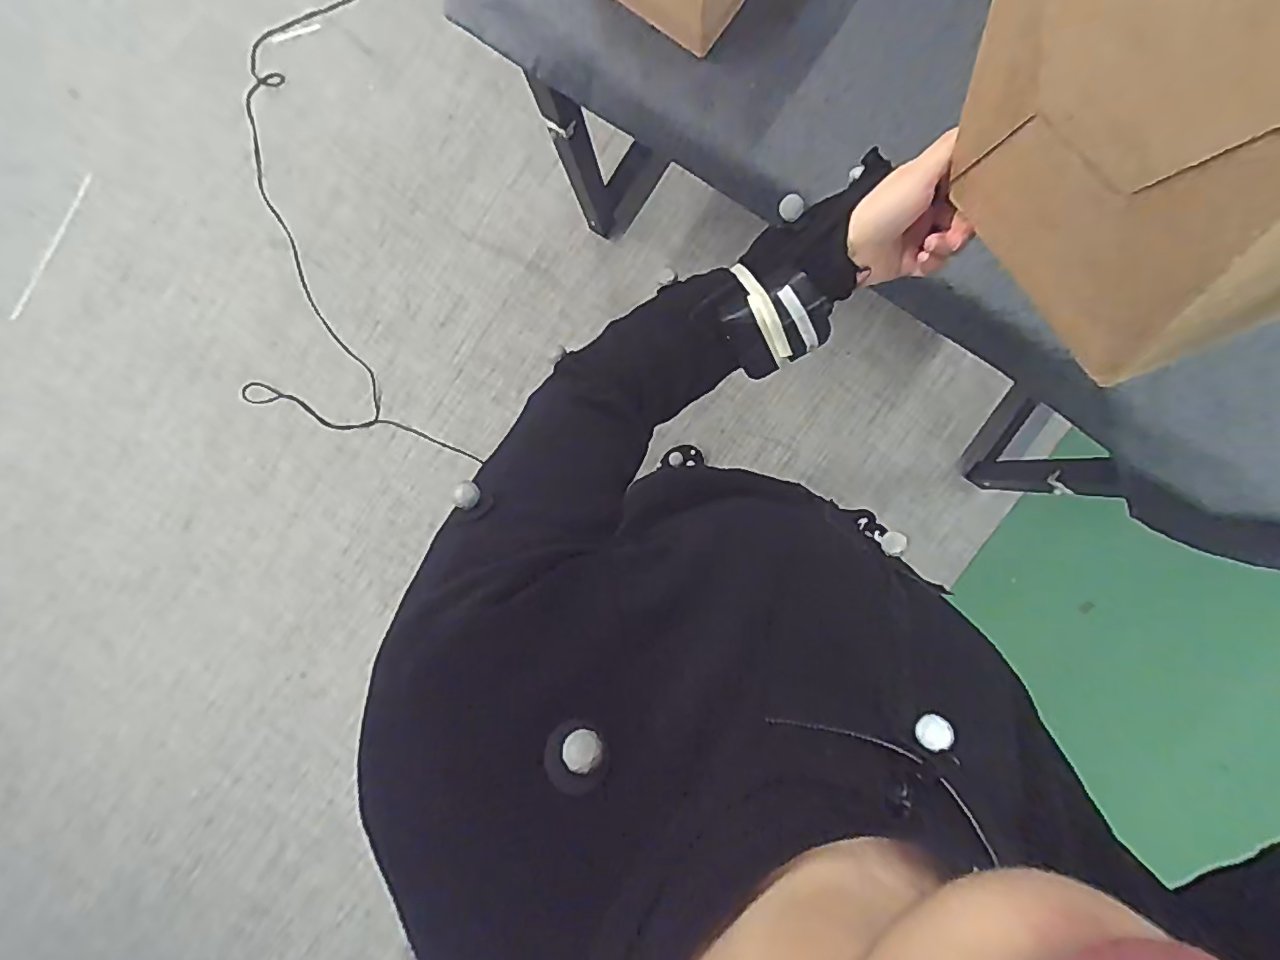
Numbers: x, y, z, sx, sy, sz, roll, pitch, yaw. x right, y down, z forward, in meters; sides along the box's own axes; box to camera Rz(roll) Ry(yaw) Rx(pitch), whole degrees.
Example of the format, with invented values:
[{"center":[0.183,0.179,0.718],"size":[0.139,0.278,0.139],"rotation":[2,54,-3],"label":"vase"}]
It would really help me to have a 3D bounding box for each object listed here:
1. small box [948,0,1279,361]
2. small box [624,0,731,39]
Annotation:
[{"center":[0.267,-0.179,0.228],"size":[0.176,0.179,0.168],"rotation":[-23,66,9],"label":"small box"},{"center":[0.044,-0.607,0.546],"size":[0.179,0.176,0.168],"rotation":[37,92,3],"label":"small box"}]
